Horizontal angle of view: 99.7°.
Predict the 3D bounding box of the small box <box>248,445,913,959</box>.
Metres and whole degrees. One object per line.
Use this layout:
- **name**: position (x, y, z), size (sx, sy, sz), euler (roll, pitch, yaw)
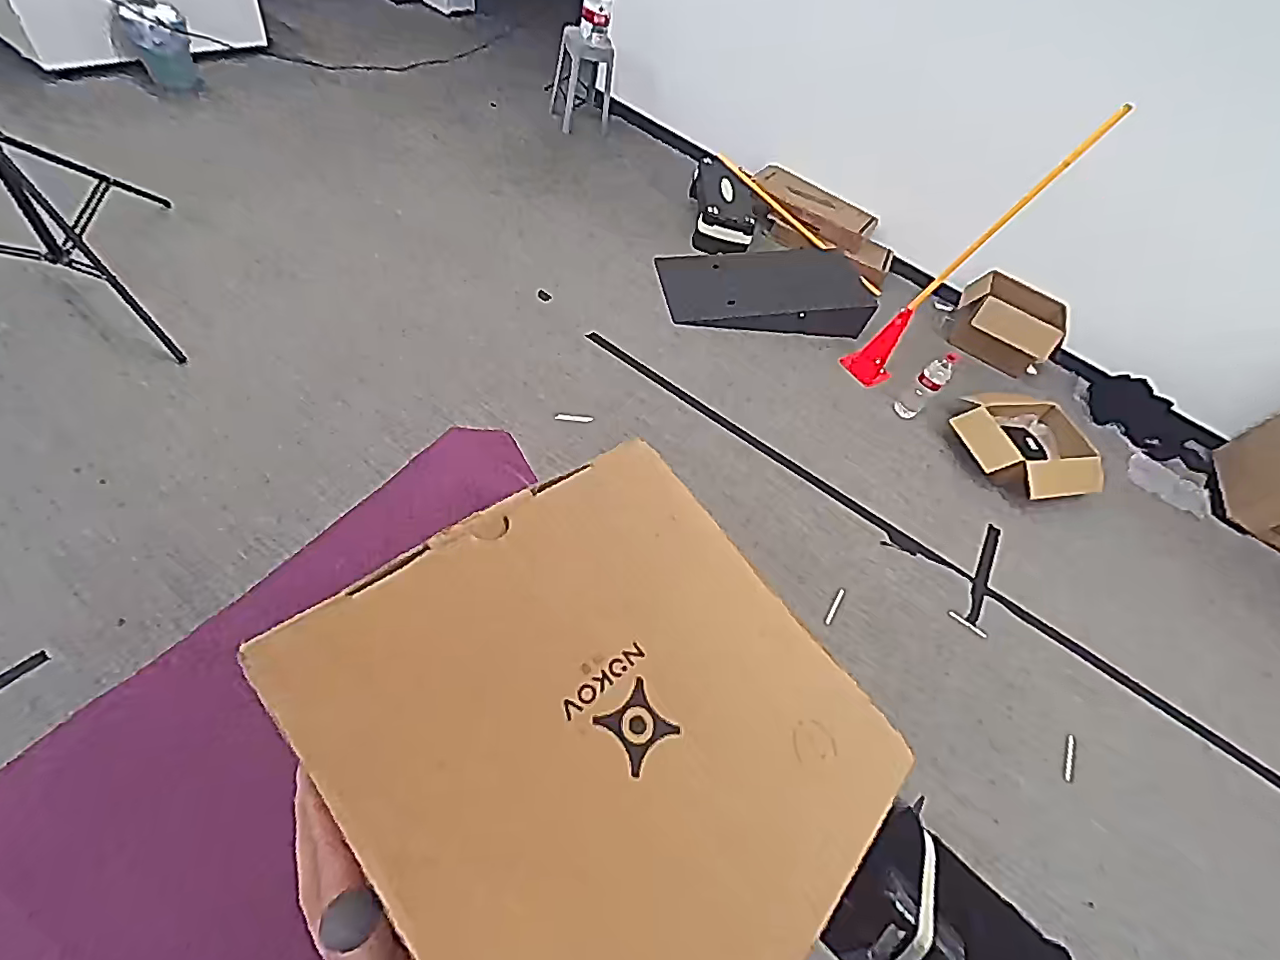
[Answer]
- **small box**: position (-0.030, 0.121, 0.246), size (0.168, 0.176, 0.179), euler (-31, 73, -35)
